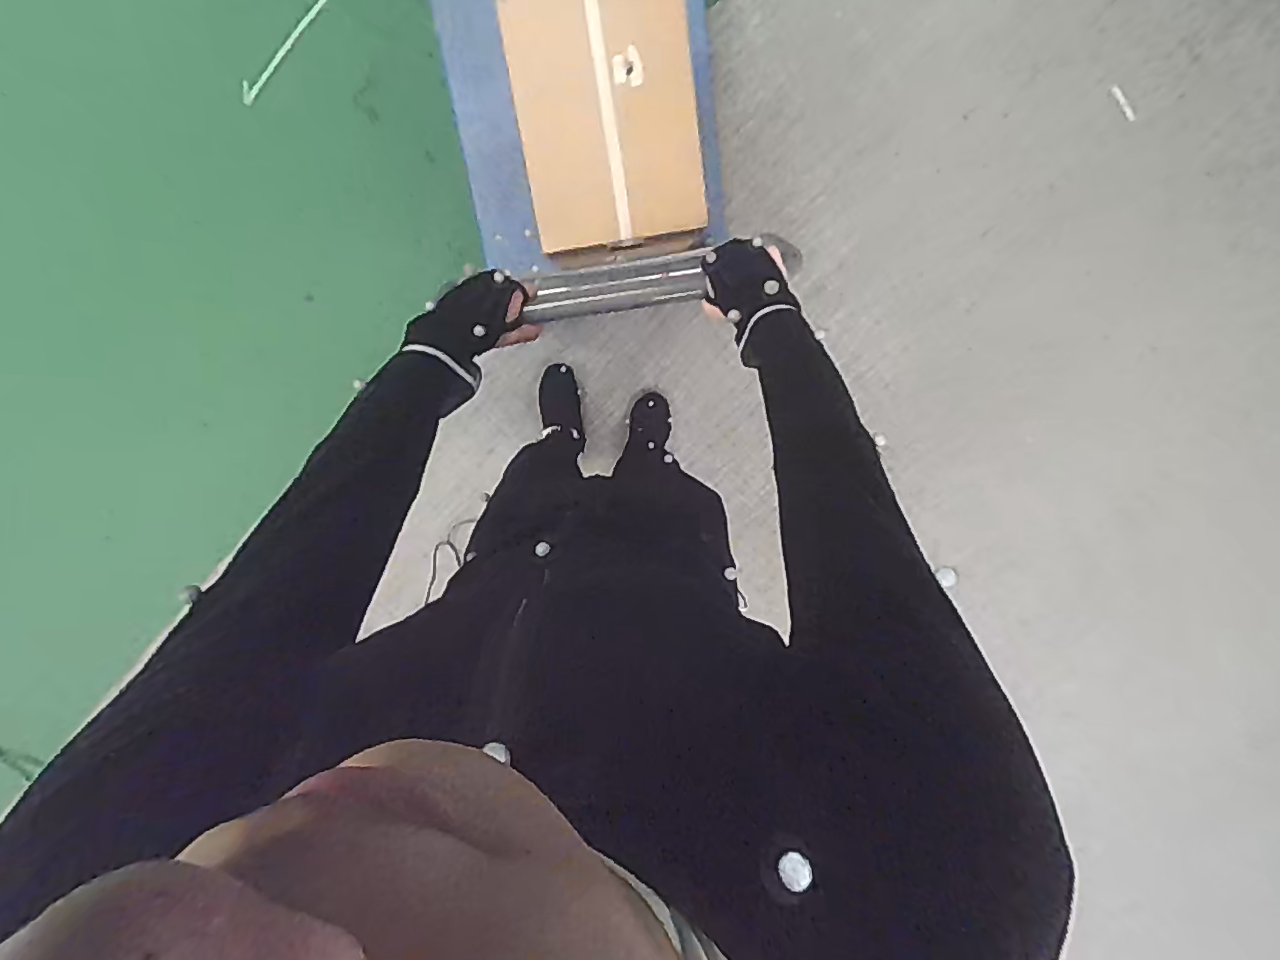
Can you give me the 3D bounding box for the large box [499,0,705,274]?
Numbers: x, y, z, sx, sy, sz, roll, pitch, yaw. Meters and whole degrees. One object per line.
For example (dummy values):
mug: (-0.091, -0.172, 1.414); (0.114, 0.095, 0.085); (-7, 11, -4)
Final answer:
large box: (-0.063, -0.672, 1.114); (0.320, 0.320, 0.408); (-9, 105, 0)
